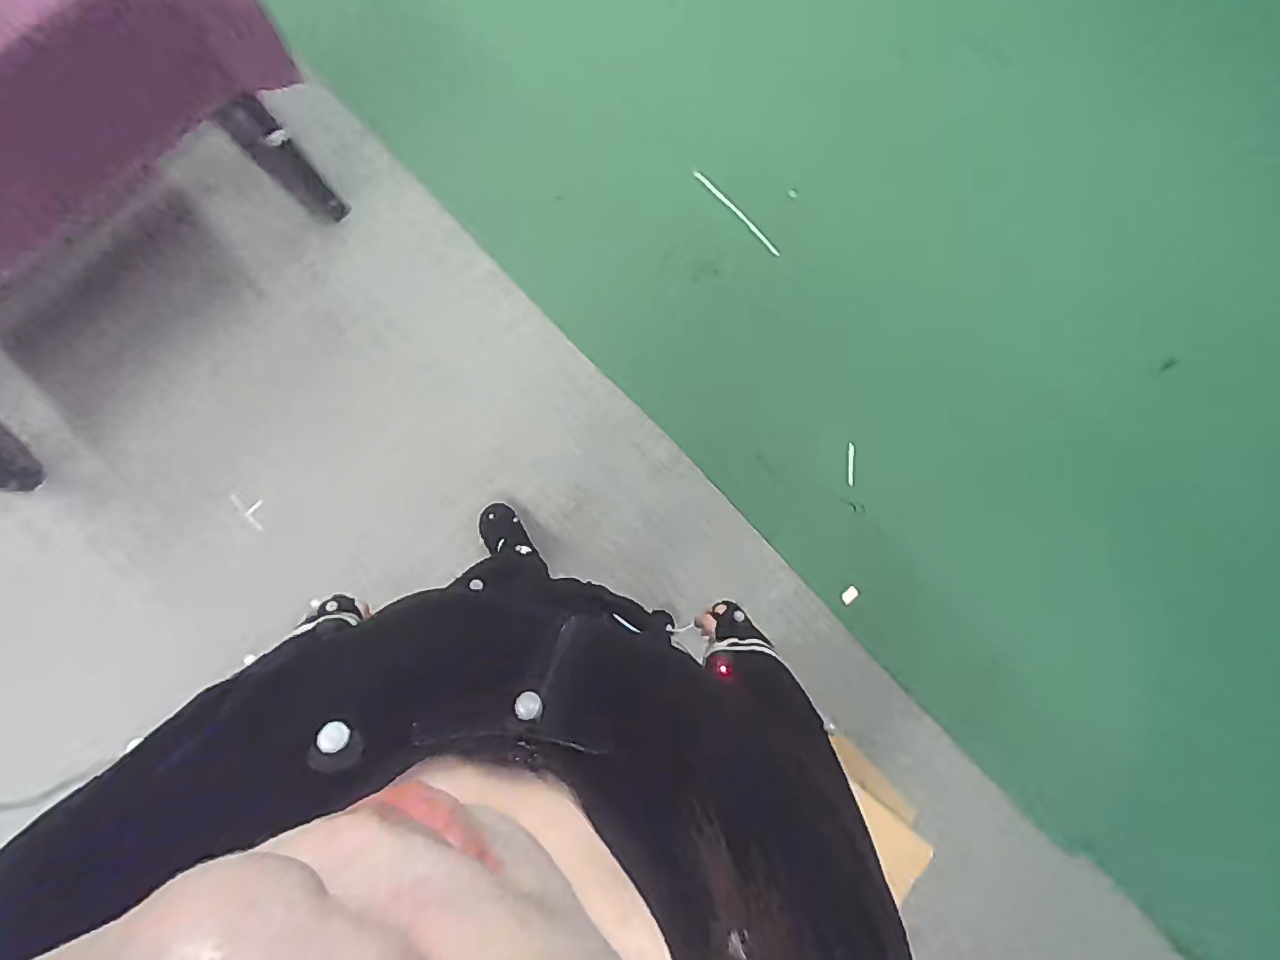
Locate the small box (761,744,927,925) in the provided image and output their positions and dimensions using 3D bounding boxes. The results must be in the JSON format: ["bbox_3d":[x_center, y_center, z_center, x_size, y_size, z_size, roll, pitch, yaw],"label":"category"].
[{"bbox_3d":[0.338,0.591,0.937,0.179,0.176,0.168,40,83,1],"label":"small box"}]

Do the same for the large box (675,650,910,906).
[{"bbox_3d":[0.347,0.694,1.337,0.320,0.320,0.408,-44,89,-7],"label":"large box"}]
